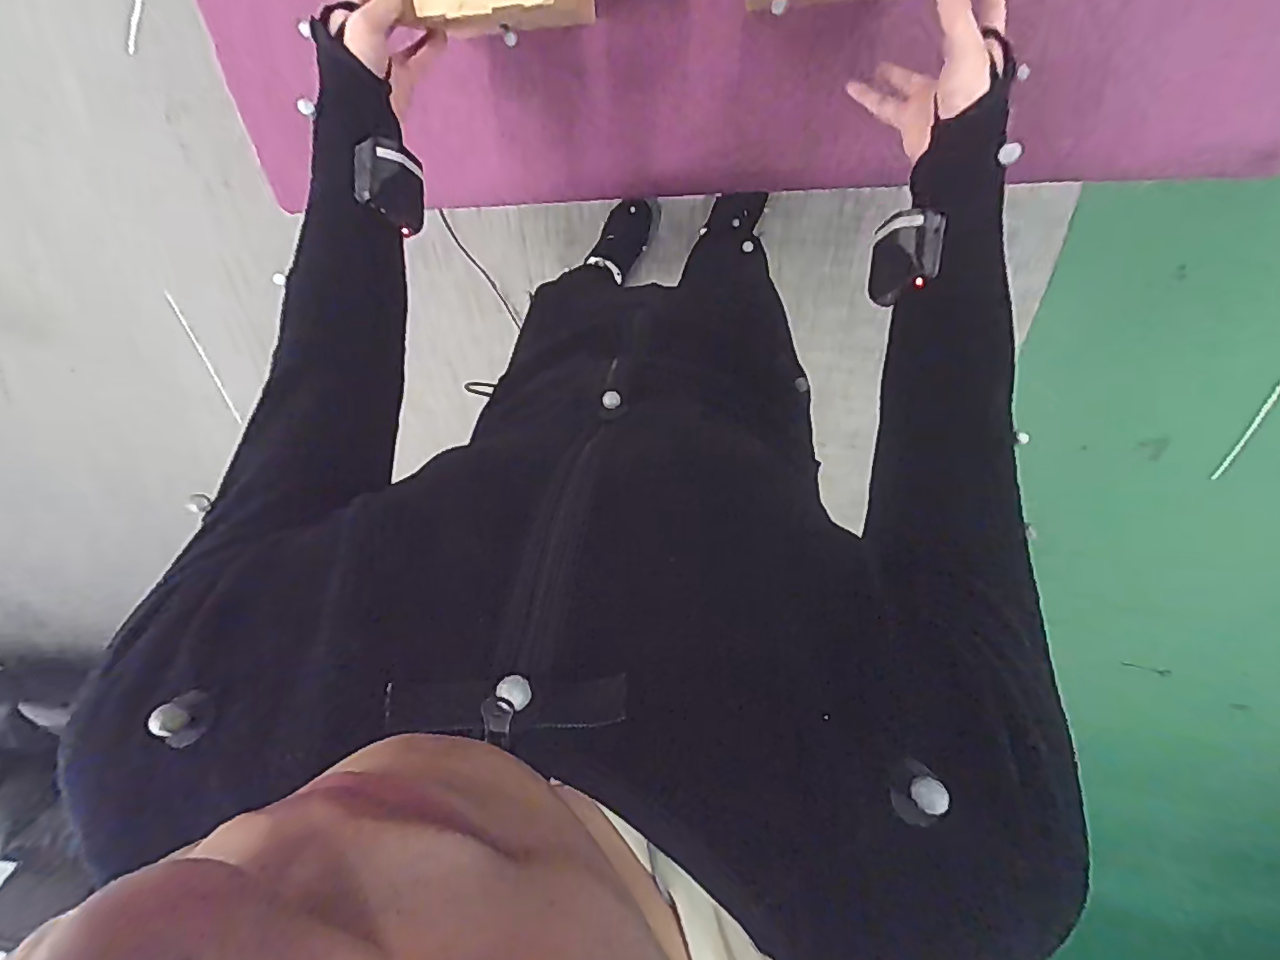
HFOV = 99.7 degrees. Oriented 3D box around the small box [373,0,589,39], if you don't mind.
[{"bbox_3d":[-0.150,-0.526,0.491,0.168,0.176,0.179,1,126,9],"label":"small box"}]
